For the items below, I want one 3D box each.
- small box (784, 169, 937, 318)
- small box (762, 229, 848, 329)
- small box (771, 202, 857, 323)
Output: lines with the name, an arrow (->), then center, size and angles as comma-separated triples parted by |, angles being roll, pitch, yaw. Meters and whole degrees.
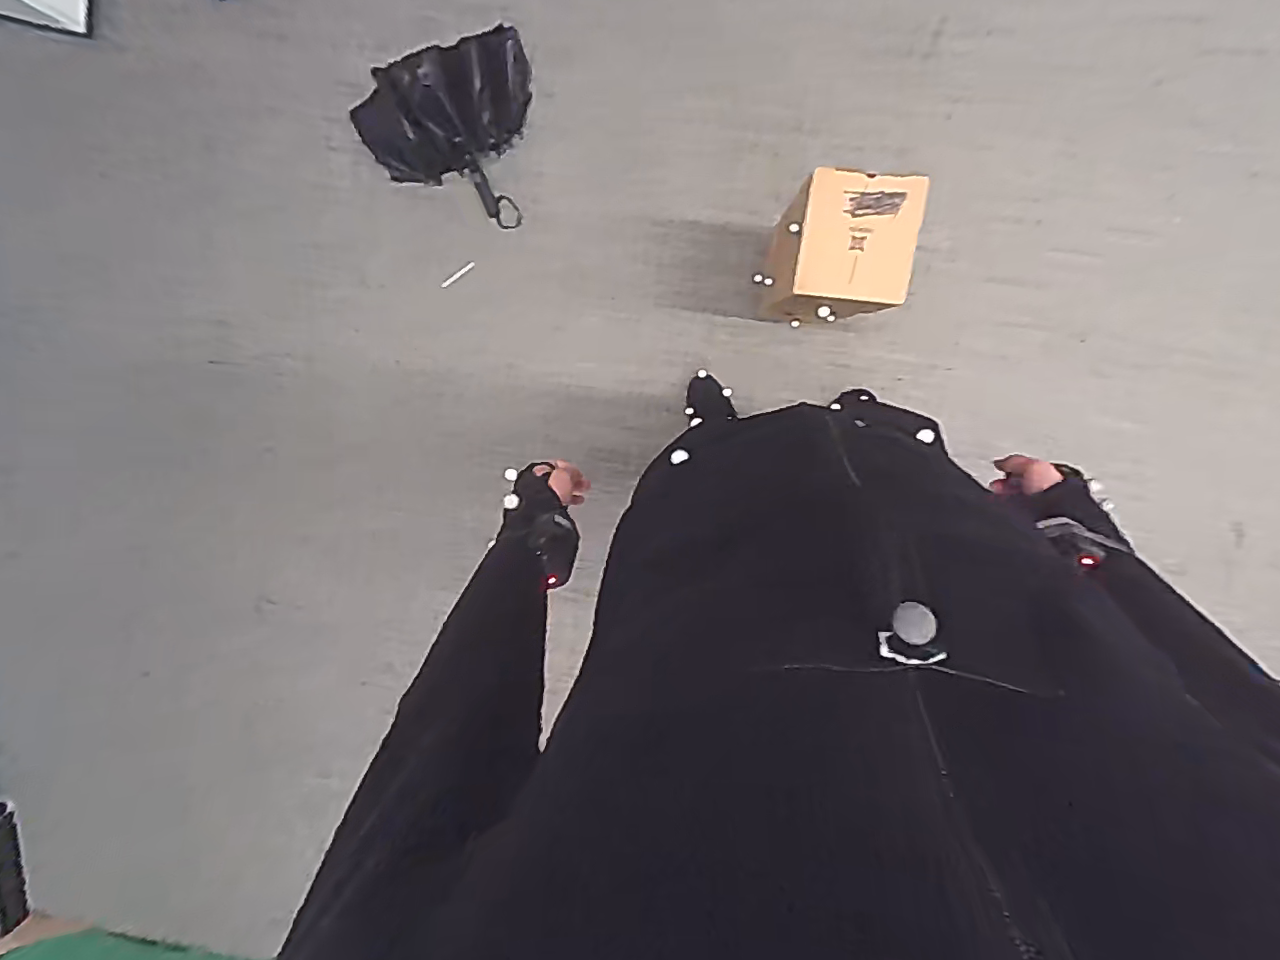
small box -> 0.334, -0.363, 0.859 | 0.168, 0.176, 0.179 | 8, 103, 4
small box -> 0.365, -0.429, 1.177 | 0.168, 0.176, 0.179 | 6, 102, 4
small box -> 0.349, -0.399, 1.019 | 0.168, 0.176, 0.179 | 7, 100, 4
